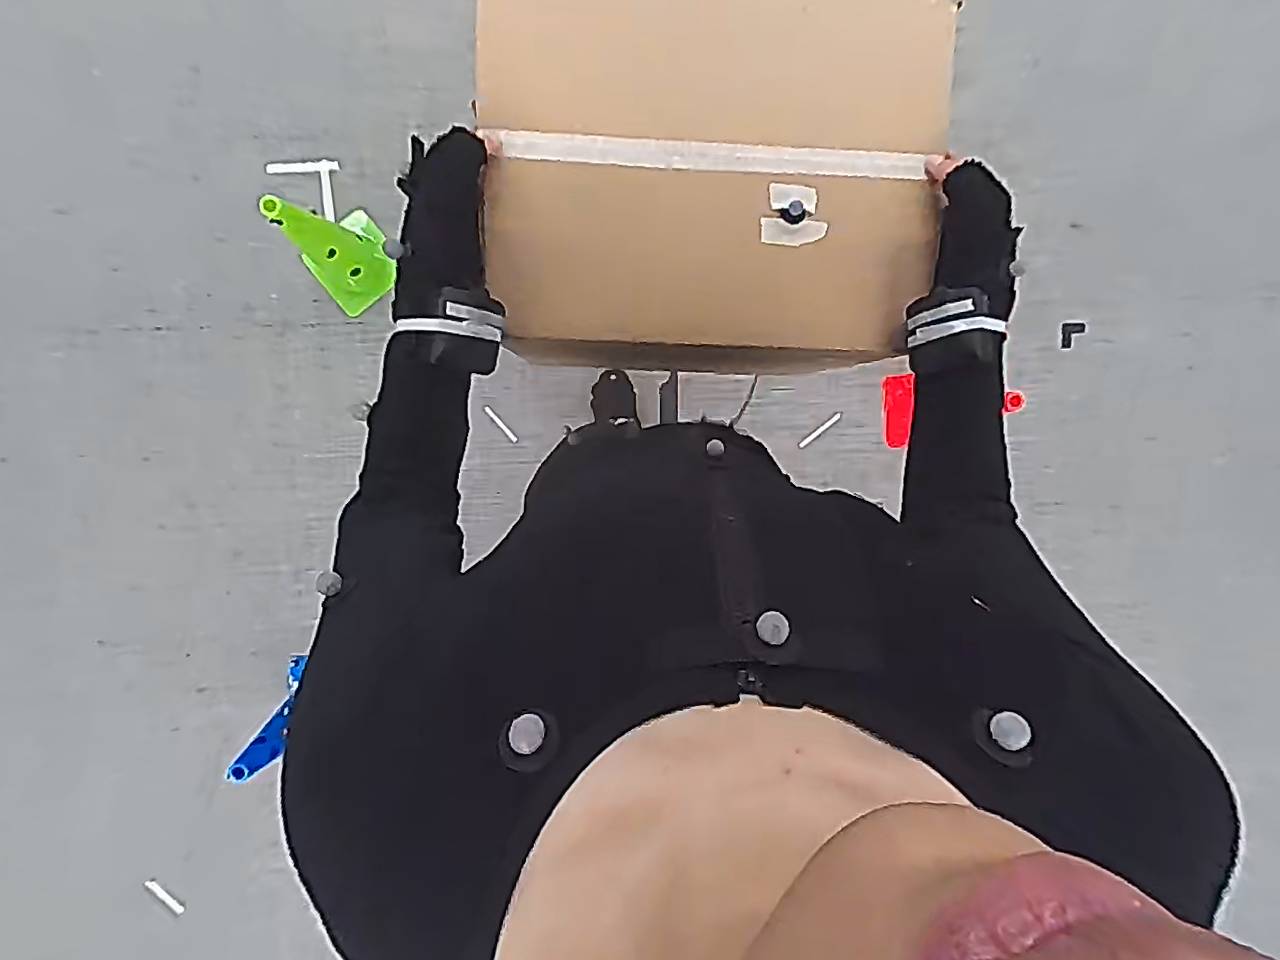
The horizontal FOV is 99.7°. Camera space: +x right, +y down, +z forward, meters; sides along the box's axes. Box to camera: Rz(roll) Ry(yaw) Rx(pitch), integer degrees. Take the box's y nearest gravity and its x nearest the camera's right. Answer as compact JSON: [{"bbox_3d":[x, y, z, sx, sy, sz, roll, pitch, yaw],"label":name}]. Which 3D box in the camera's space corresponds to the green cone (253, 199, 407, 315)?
[{"bbox_3d":[-0.713,-0.533,1.195,0.202,0.368,0.200,-39,95,2],"label":"green cone"}]

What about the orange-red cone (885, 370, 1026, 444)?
[{"bbox_3d":[0.781,-0.189,1.310,0.198,0.360,0.199,-5,93,-4],"label":"orange-red cone"}]

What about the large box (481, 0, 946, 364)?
[{"bbox_3d":[0.054,-0.304,0.615,0.408,0.320,0.320,1,98,-5],"label":"large box"}]
